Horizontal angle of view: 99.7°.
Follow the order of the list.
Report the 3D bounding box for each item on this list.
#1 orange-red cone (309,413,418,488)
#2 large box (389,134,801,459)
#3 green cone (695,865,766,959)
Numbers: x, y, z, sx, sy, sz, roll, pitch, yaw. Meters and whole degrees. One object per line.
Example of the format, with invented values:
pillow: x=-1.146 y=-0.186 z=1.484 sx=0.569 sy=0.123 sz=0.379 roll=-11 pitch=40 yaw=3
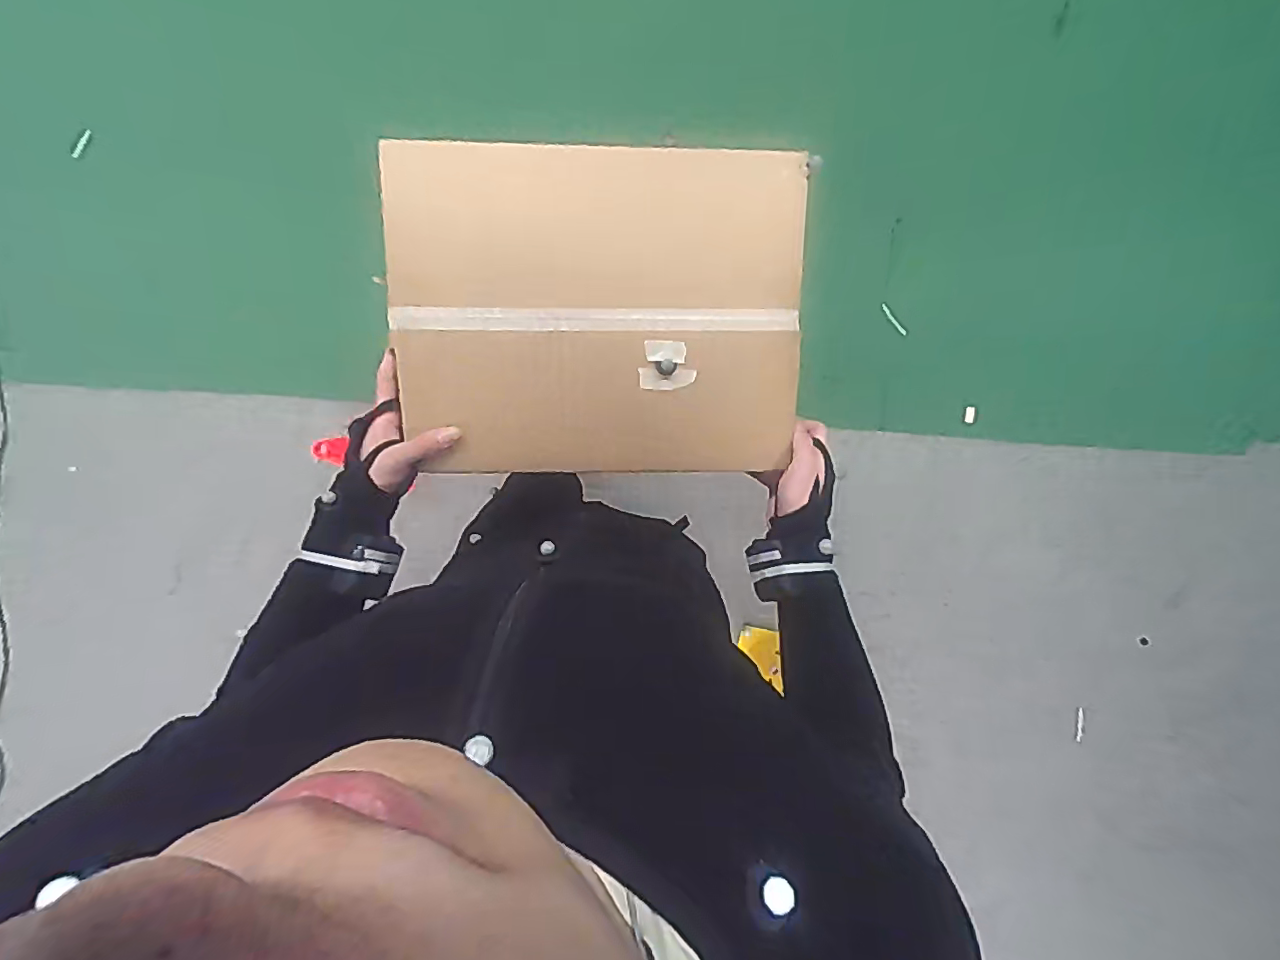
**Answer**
orange-red cone: x=-0.742 y=-0.084 z=1.402 sx=0.199 sy=0.360 sz=0.198 roll=11 pitch=90 yaw=-2
large box: x=-0.049 y=-0.206 z=0.693 sx=0.408 sy=0.320 sz=0.320 roll=0 pitch=102 yaw=-4
green cone: x=0.289 y=1.294 z=1.491 sx=0.200 sy=0.368 sz=0.202 roll=9 pitch=90 yaw=-3
